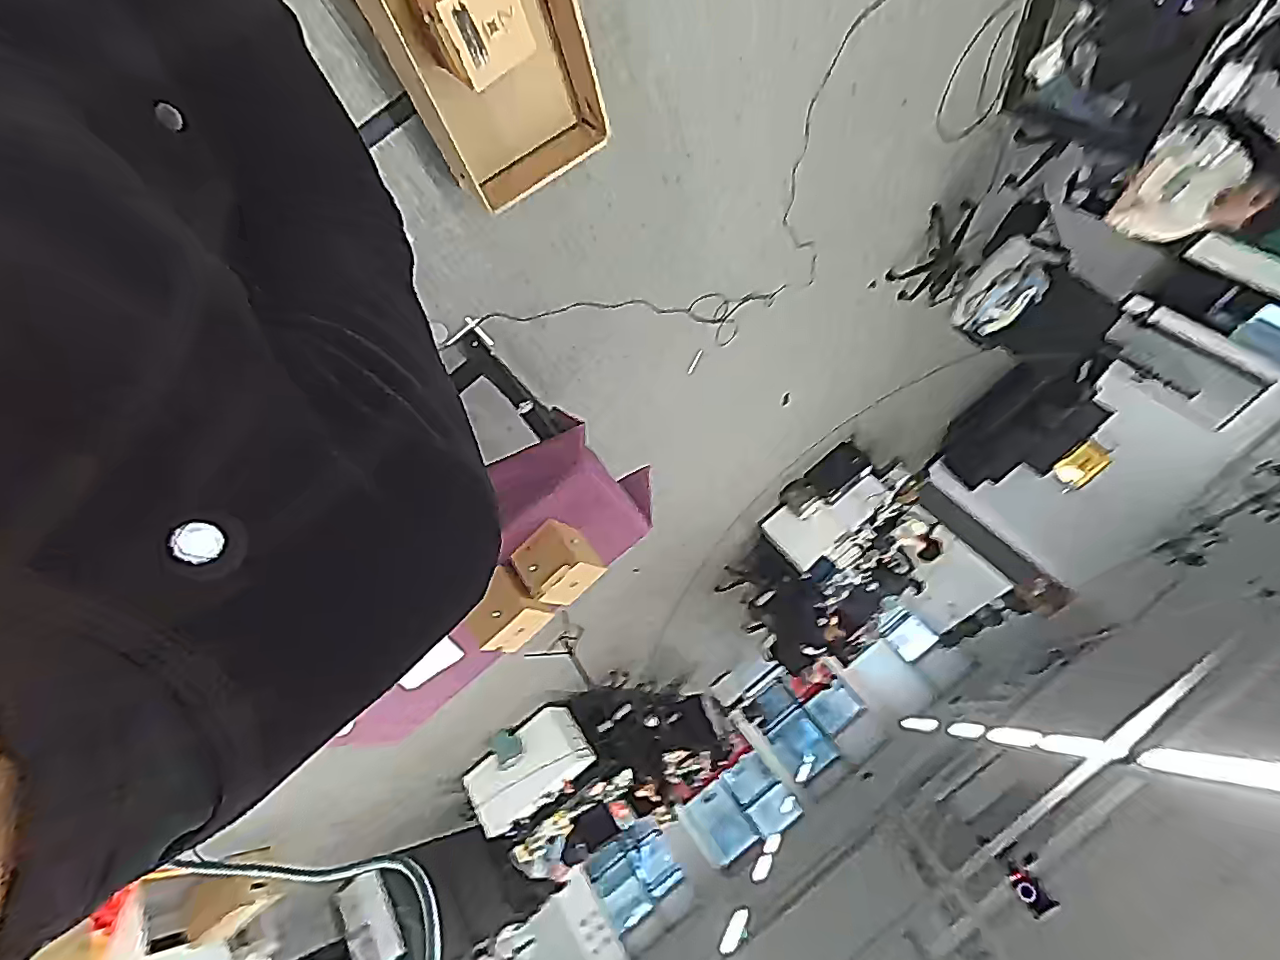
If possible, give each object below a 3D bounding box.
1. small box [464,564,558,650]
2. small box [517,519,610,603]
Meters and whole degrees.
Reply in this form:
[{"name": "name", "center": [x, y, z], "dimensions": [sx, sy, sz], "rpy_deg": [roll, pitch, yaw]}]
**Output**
[{"name": "small box", "center": [-0.379, 0.371, 1.580], "dimensions": [0.179, 0.176, 0.168], "rpy_deg": [-42, 151, 3]}, {"name": "small box", "center": [-0.225, 0.236, 1.580], "dimensions": [0.168, 0.176, 0.179], "rpy_deg": [-43, 151, 7]}]
